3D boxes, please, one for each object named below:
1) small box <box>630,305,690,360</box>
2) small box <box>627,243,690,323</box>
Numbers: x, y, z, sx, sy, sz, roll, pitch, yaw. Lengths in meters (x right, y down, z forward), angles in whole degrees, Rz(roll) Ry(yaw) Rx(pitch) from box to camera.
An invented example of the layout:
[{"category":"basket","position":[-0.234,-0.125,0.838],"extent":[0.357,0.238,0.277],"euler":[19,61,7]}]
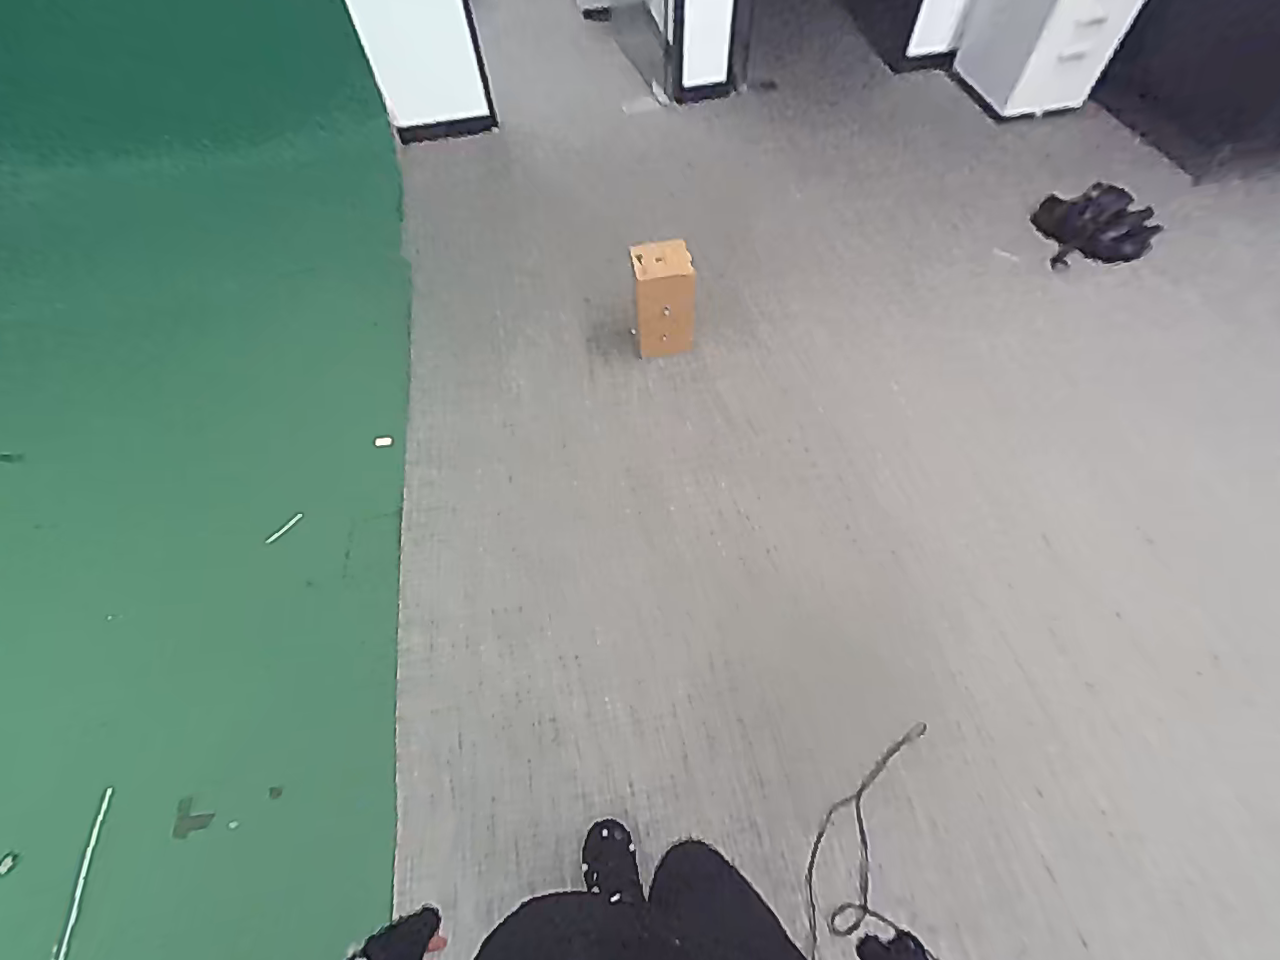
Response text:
[{"category":"small box","position":[0.063,-0.541,1.868],"extent":[0.179,0.176,0.168],"euler":[-12,60,-6]},{"category":"small box","position":[0.054,-0.626,1.728],"extent":[0.179,0.176,0.168],"euler":[-8,59,-3]}]
